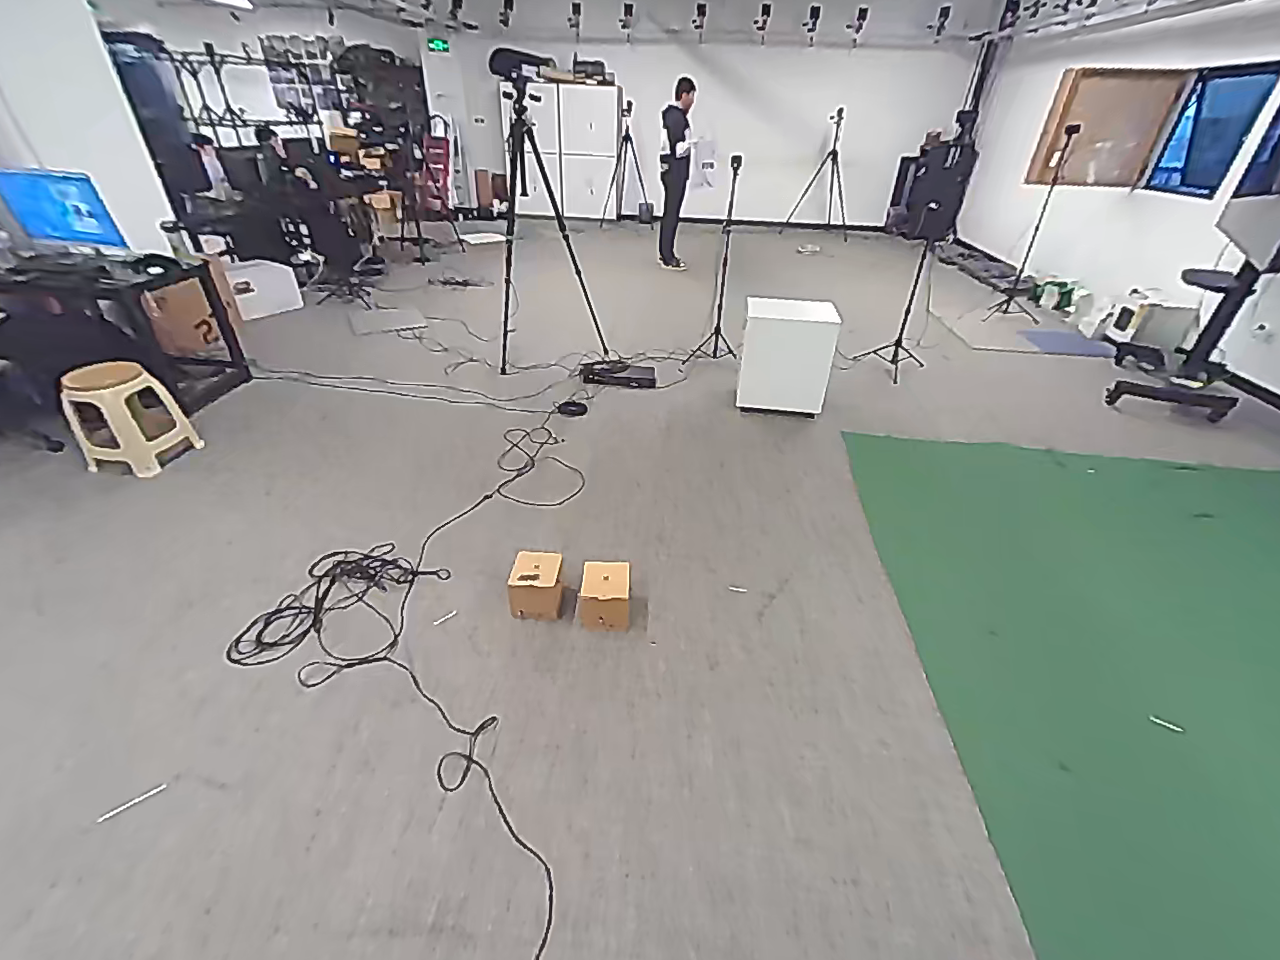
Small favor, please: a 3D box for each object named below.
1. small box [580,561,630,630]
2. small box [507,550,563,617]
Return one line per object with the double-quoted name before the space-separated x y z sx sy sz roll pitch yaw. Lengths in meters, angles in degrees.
"small box" -0.123 0.411 1.936 0.168 0.176 0.179 1 35 -1
"small box" -0.374 0.379 1.966 0.168 0.176 0.179 3 34 2
